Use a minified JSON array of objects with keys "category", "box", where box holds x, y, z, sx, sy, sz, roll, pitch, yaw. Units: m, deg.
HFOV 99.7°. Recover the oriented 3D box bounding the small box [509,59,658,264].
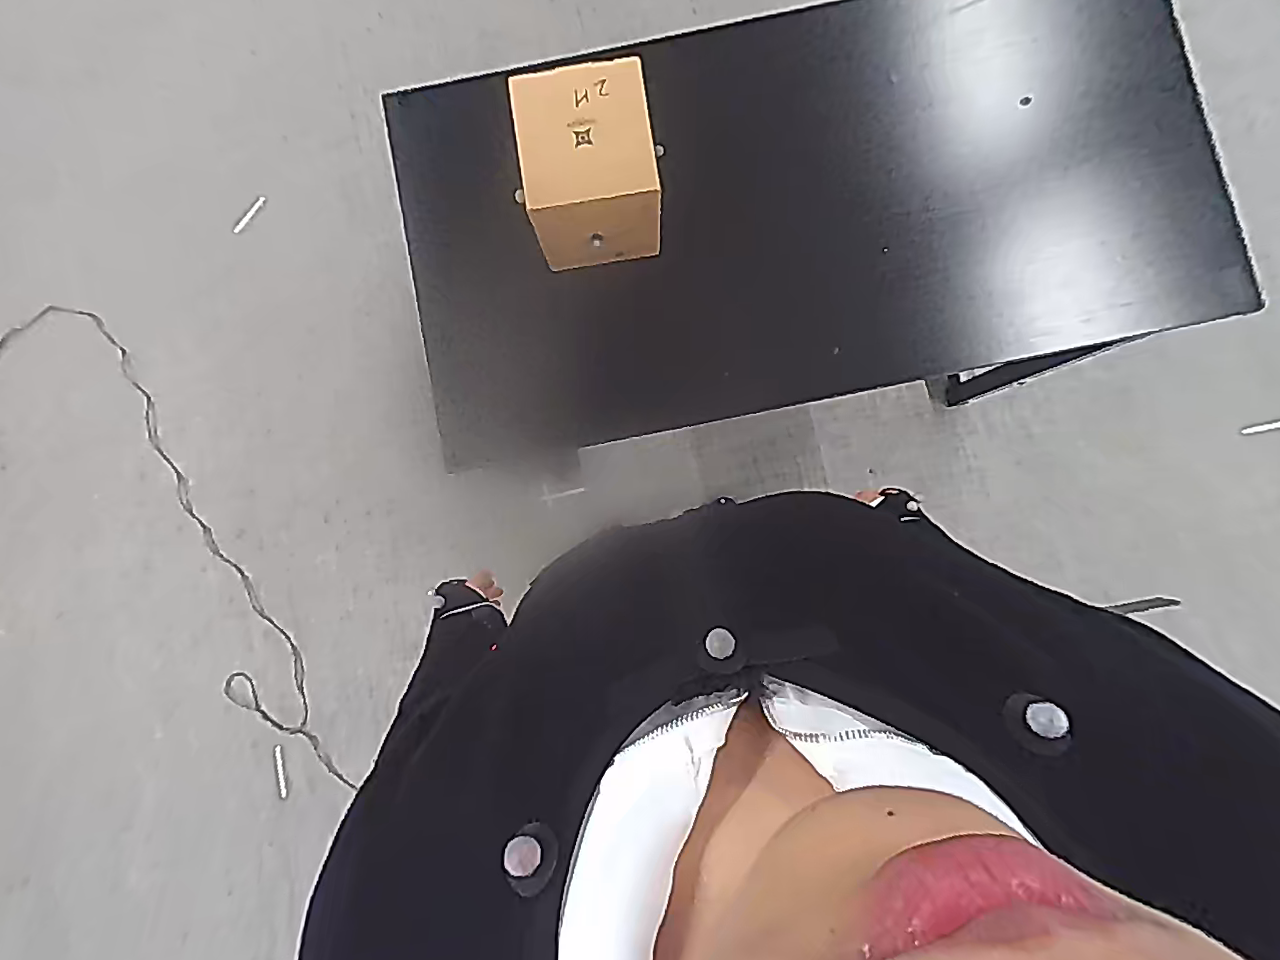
[{"category":"small box","box":[-0.067,-0.416,0.741,0.168,0.176,0.179,-9,85,1]}]
